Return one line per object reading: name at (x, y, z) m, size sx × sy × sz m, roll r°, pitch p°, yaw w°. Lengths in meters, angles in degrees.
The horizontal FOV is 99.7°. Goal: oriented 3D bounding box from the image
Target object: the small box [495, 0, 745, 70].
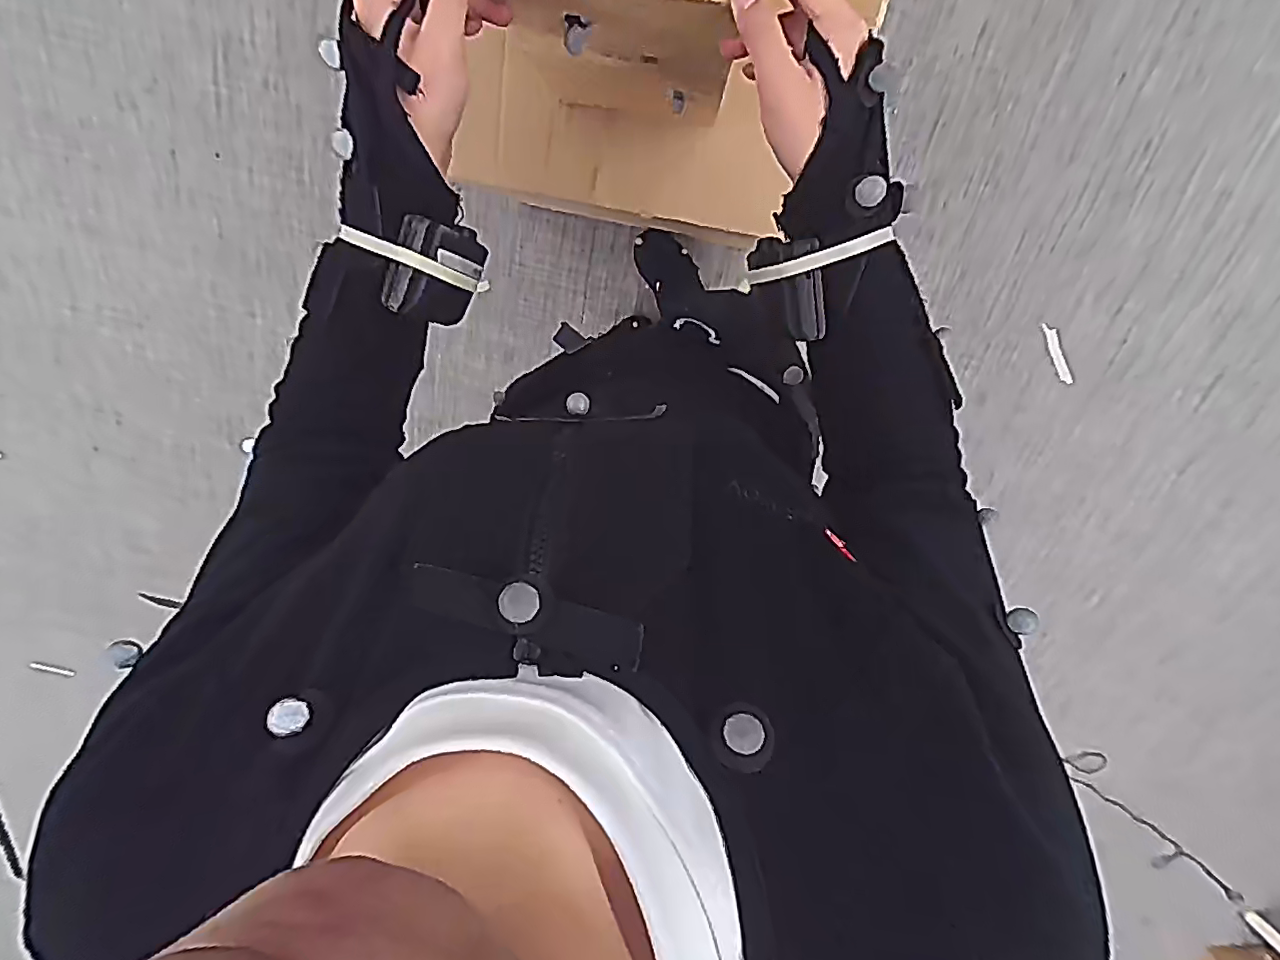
small box at (-0.006, -0.367, 0.308) m, size 0.168 × 0.176 × 0.179 m, roll 9°, pitch 114°, yaw 0°
